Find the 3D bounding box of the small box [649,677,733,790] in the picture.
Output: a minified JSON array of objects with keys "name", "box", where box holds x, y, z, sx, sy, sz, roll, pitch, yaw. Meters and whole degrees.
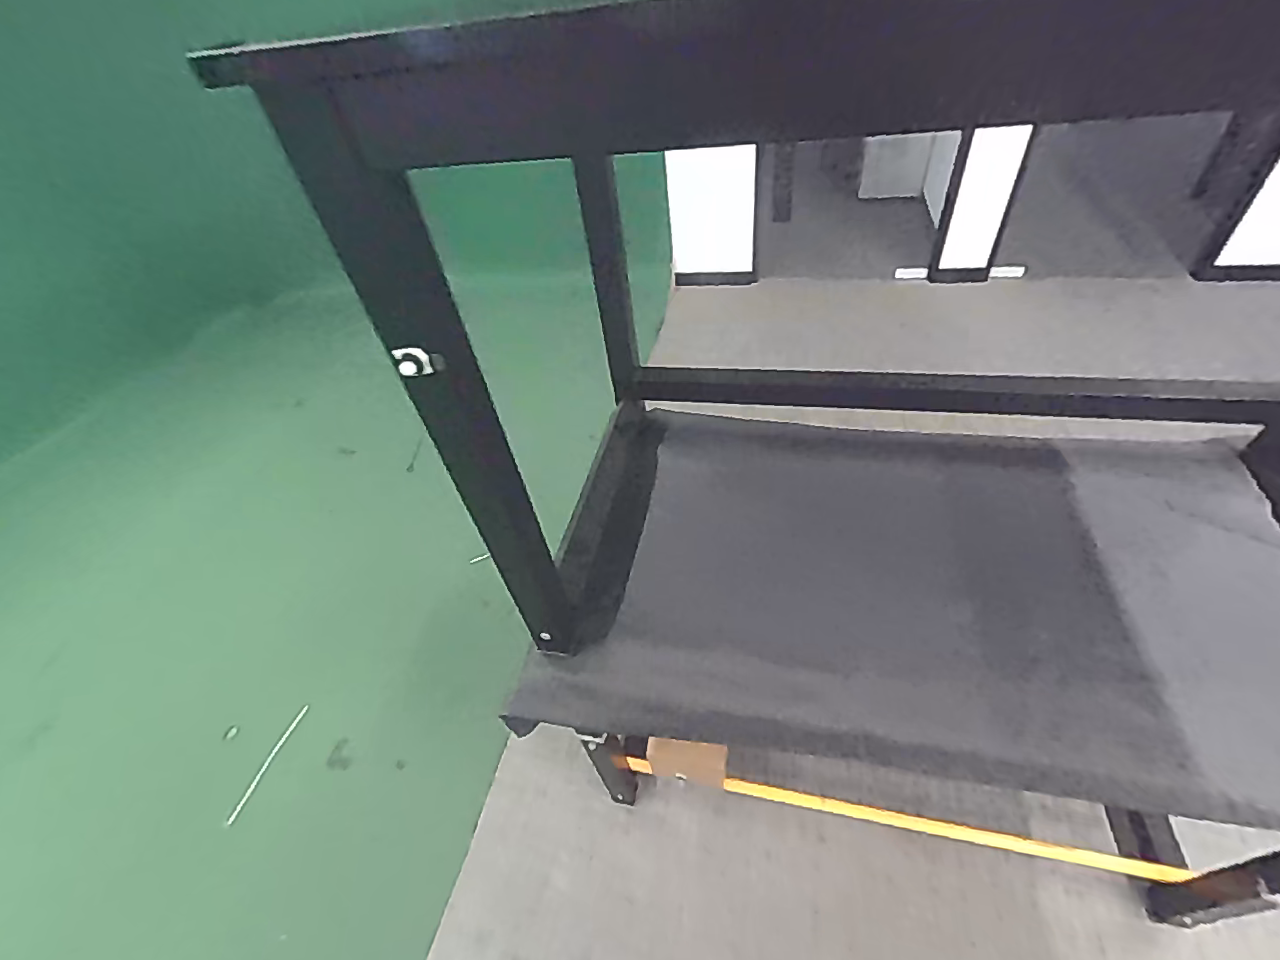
[{"name":"small box","box":[0.121,0.584,1.246,0.168,0.176,0.179,4,47,13]}]
